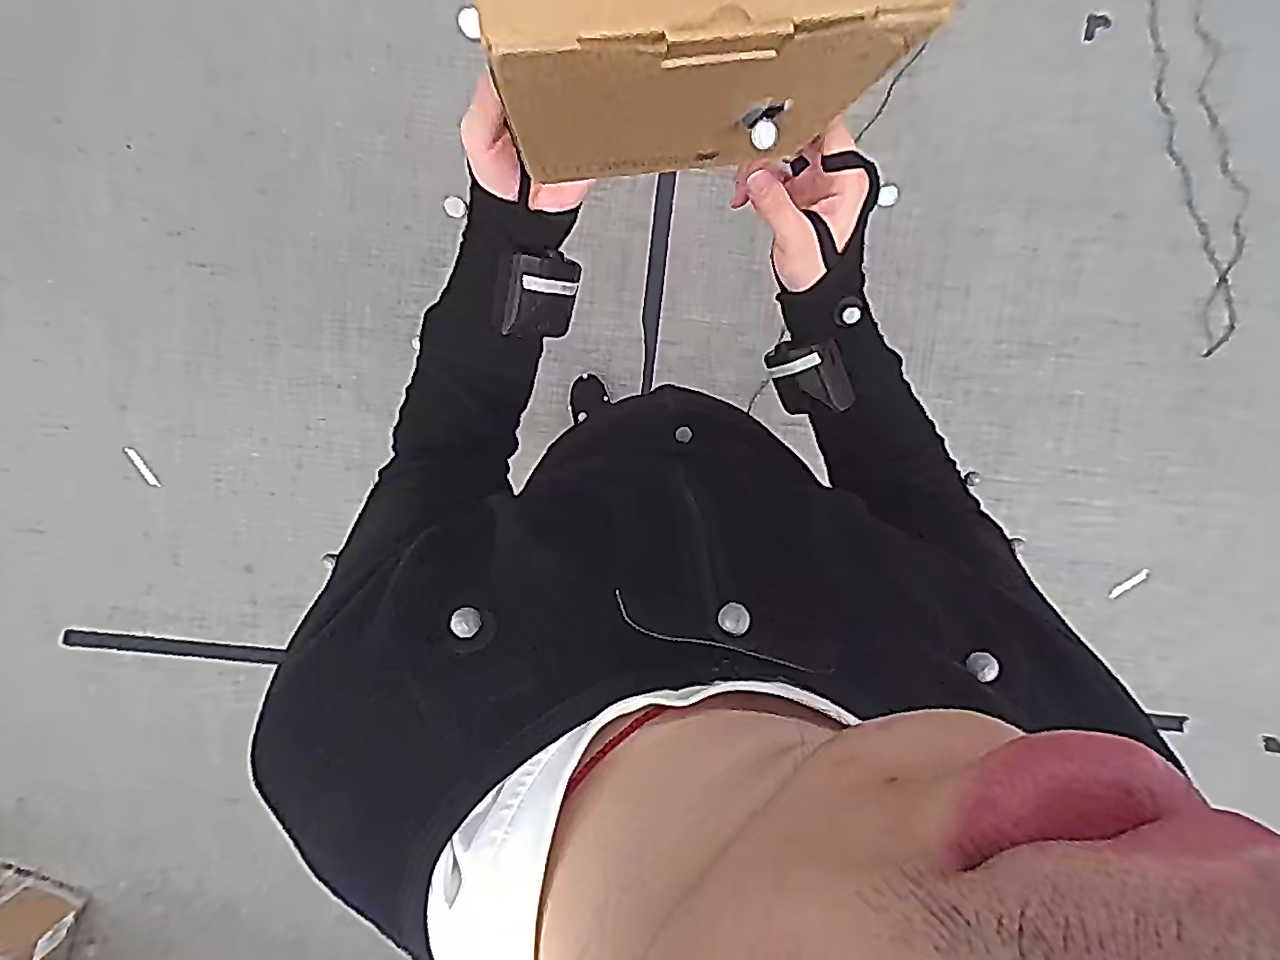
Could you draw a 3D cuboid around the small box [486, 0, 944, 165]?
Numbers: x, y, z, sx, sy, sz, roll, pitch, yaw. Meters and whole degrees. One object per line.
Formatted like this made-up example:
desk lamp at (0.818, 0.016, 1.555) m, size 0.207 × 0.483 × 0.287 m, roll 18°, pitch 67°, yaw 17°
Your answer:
small box at (0.014, -0.260, 0.244) m, size 0.168 × 0.176 × 0.179 m, roll -8°, pitch 106°, yaw -5°
